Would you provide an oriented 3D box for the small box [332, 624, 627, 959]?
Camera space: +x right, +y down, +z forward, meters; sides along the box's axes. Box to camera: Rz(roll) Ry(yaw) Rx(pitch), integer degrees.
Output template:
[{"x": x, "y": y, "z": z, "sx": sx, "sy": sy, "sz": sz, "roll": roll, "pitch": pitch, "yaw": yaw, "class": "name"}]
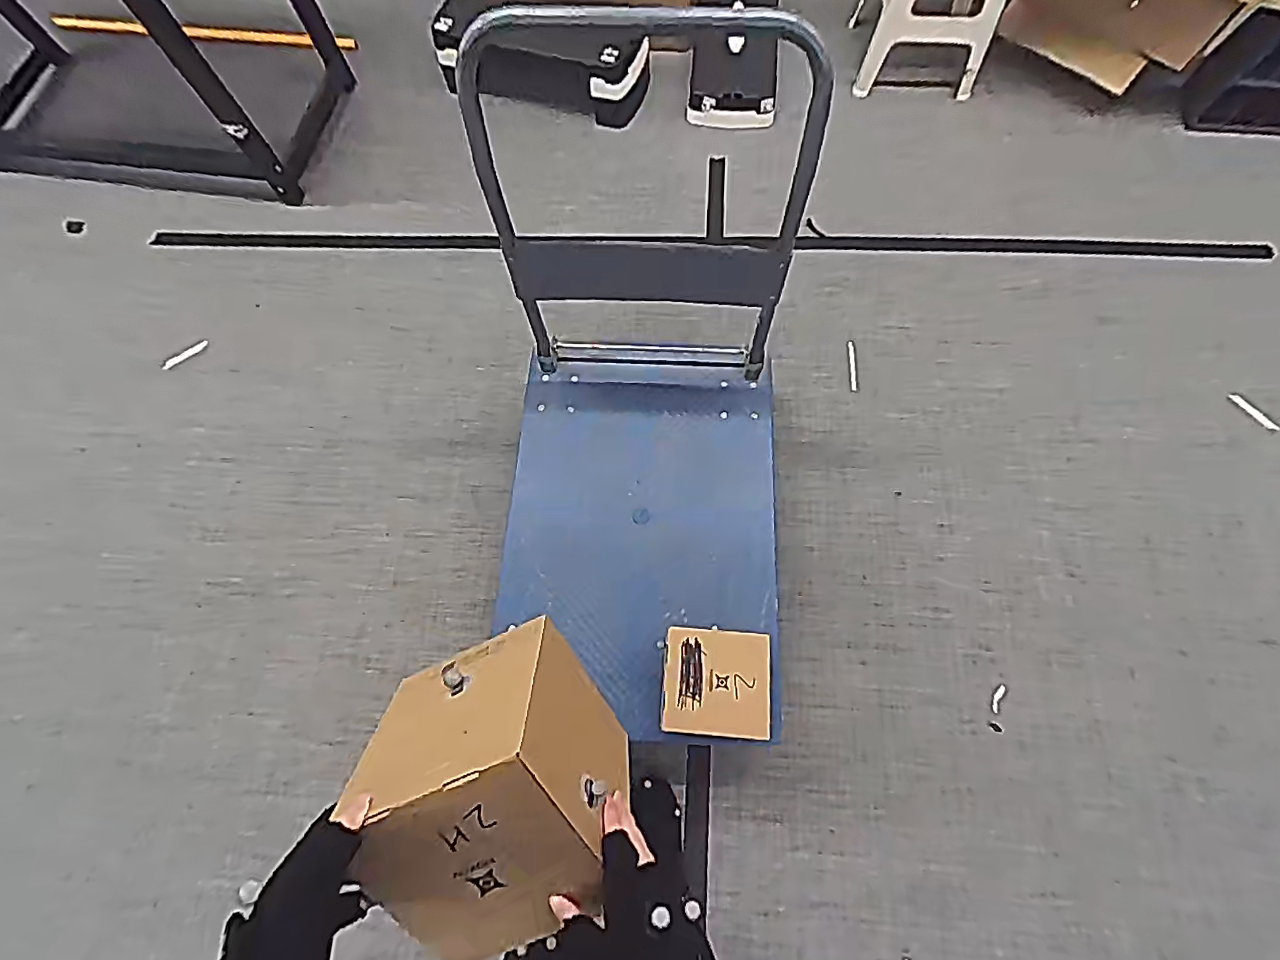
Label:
[{"x": -0.120, "y": 0.266, "z": 0.487, "sx": 0.168, "sy": 0.176, "sz": 0.179, "roll": -25, "pitch": 108, "yaw": 6, "class": "small box"}]
